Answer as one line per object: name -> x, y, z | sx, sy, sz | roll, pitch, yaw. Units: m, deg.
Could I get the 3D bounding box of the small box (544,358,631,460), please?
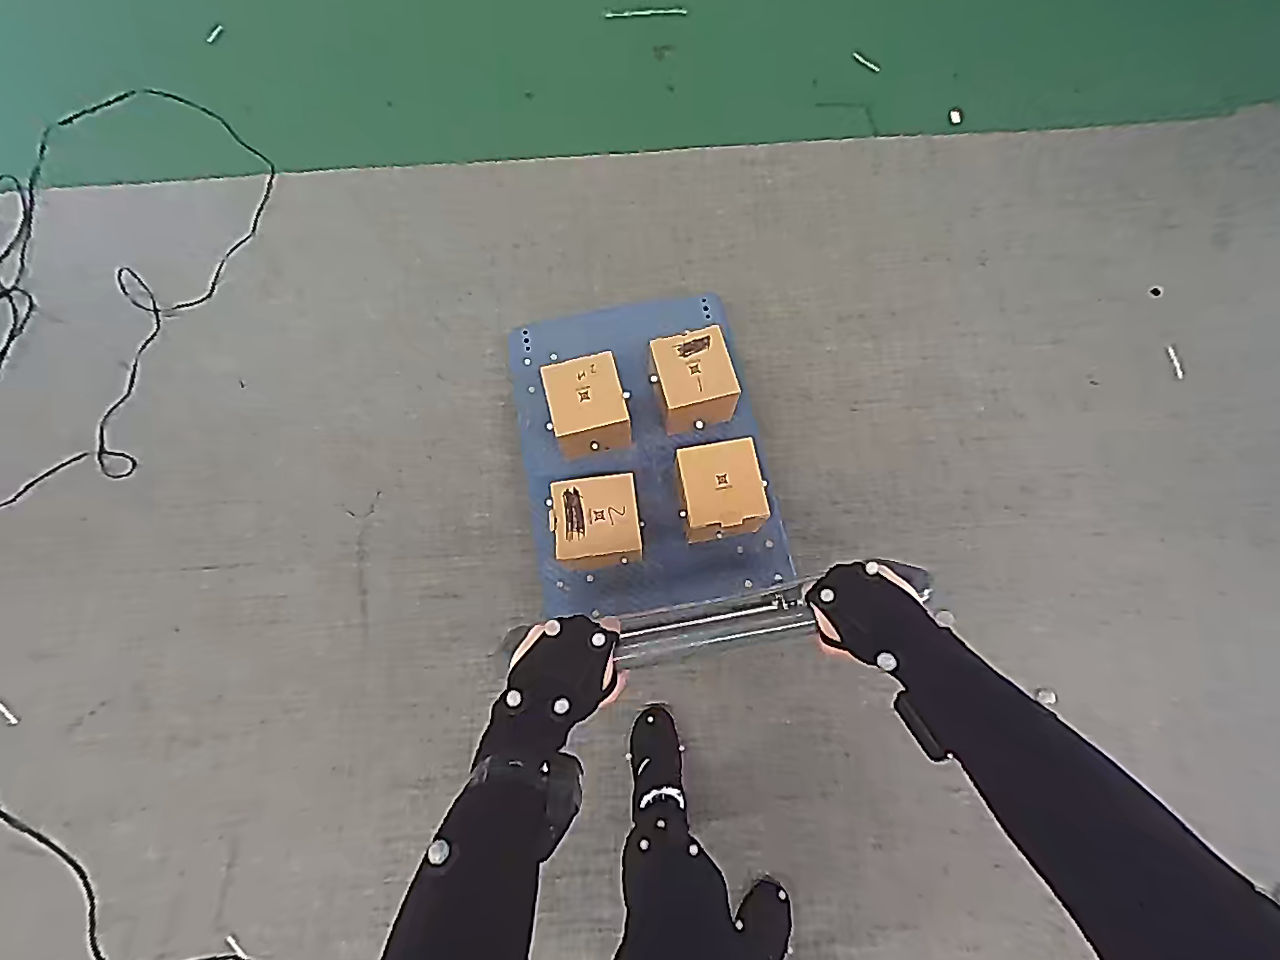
small box -> -0.119, -0.159, 1.283 | 0.168, 0.176, 0.179 | -14, 74, -4

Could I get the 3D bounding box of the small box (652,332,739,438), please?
small box -> 0.124, -0.222, 1.295 | 0.168, 0.176, 0.179 | -14, 75, -2

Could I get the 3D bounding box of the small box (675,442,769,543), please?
small box -> 0.175, 0.033, 1.220 | 0.168, 0.176, 0.179 | -10, 74, -2
